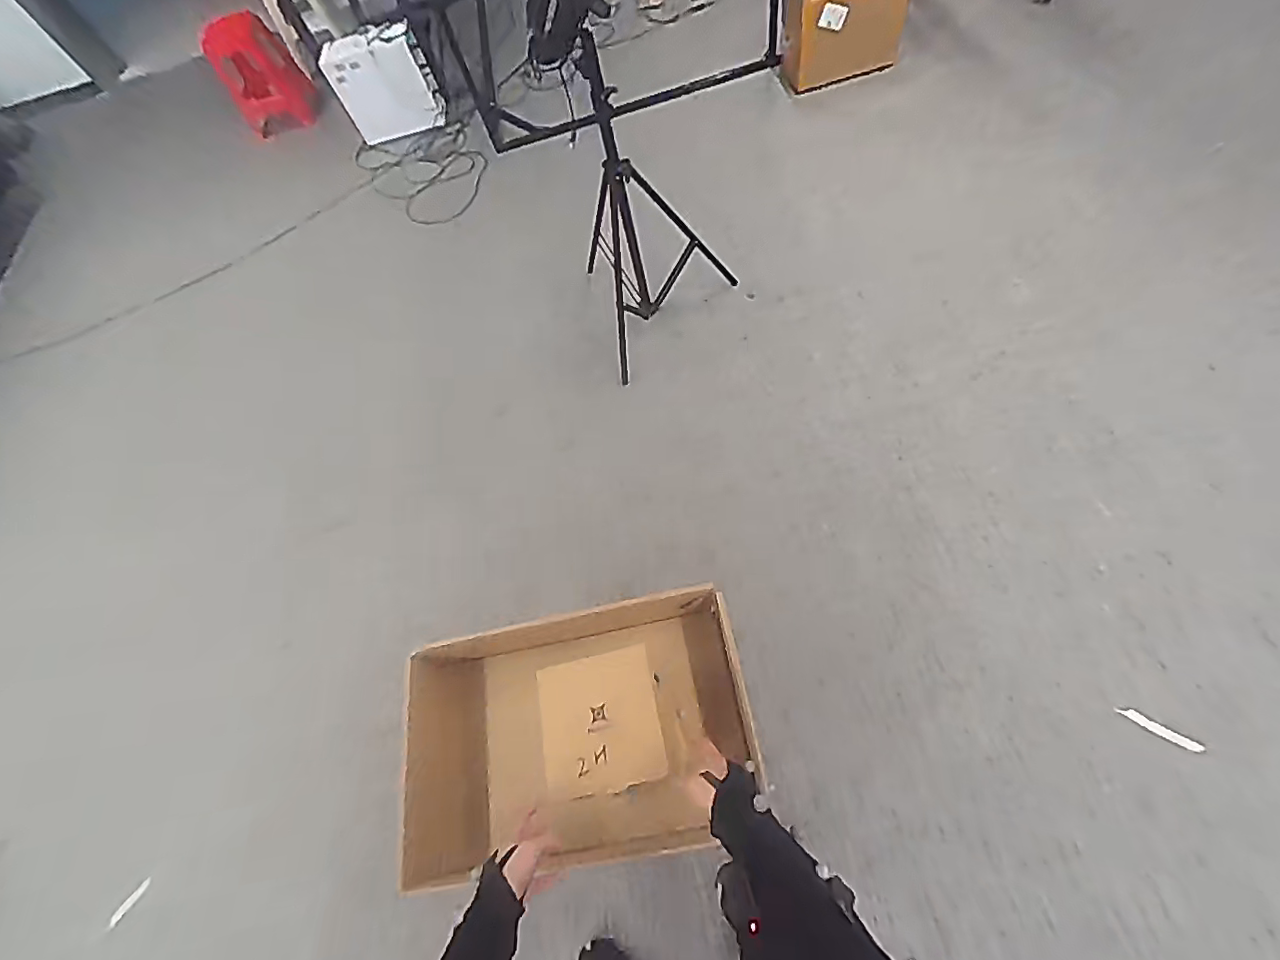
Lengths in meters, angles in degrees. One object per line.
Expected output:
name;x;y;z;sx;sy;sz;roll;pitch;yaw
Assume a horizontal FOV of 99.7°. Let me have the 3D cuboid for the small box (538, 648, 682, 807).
small box;-0.041;0.369;0.808;0.168;0.176;0.179;-15;61;5
